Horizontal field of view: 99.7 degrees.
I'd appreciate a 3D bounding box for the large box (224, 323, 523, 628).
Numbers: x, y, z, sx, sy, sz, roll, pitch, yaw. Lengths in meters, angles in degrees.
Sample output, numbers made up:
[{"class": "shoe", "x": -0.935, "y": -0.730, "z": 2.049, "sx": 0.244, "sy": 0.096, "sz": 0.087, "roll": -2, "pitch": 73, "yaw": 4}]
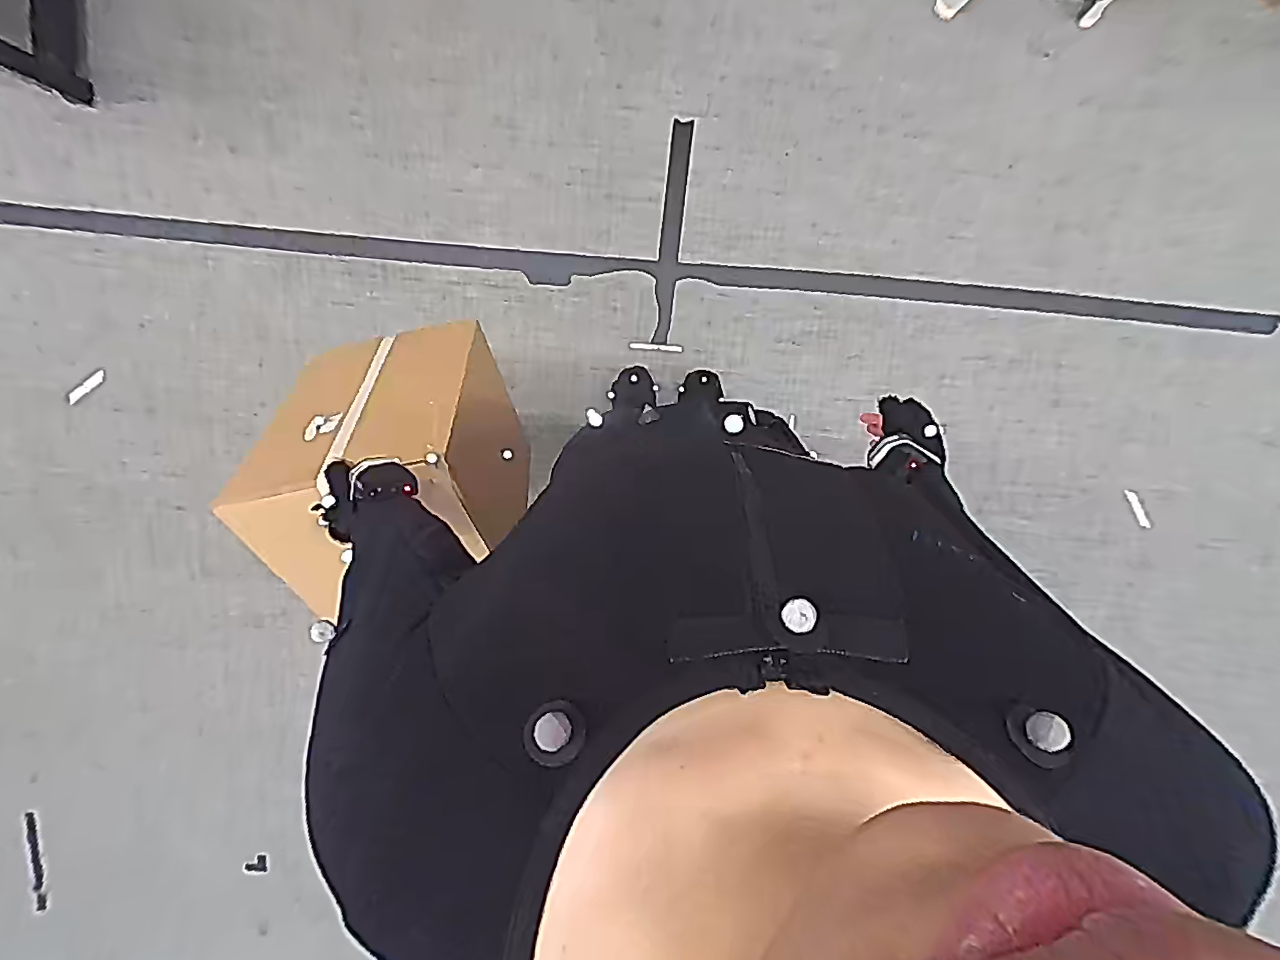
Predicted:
[{"class": "large box", "x": -0.400, "y": -0.018, "z": 0.946, "sx": 0.320, "sy": 0.408, "sz": 0.320, "roll": -13, "pitch": 133, "yaw": 2}]
